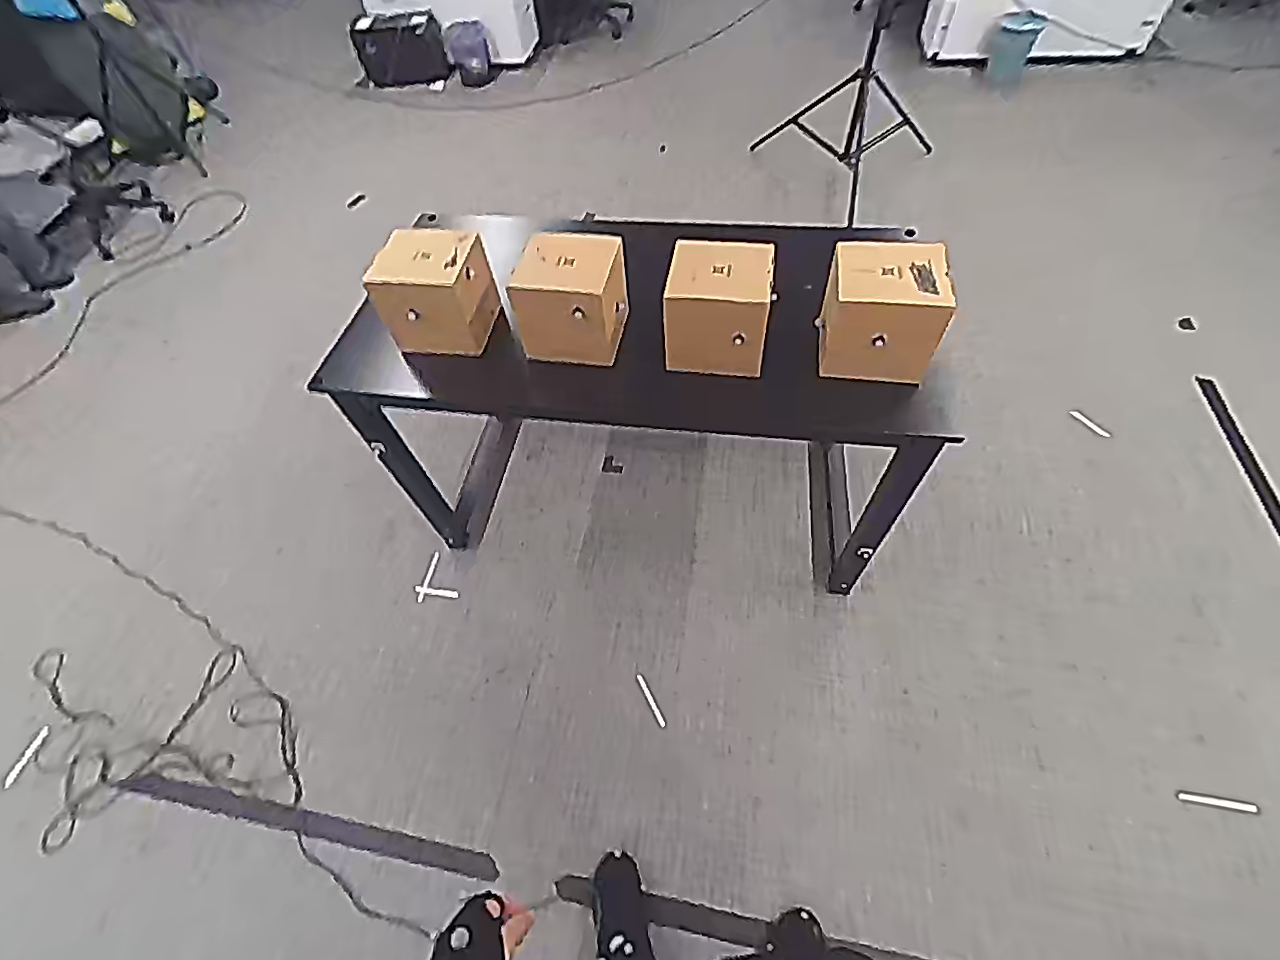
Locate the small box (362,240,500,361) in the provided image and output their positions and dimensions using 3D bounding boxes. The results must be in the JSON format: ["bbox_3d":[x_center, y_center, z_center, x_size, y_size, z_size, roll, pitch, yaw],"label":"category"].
[{"bbox_3d":[-0.400,-0.352,1.070,0.179,0.176,0.168,3,56,7],"label":"small box"}]

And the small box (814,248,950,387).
[{"bbox_3d":[0.414,-0.282,0.952,0.179,0.176,0.168,6,56,11],"label":"small box"}]

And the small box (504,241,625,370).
[{"bbox_3d":[-0.131,-0.327,1.030,0.179,0.176,0.168,6,56,9],"label":"small box"}]

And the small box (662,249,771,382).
[{"bbox_3d":[0.137,-0.297,0.988,0.179,0.176,0.168,5,54,8],"label":"small box"}]
